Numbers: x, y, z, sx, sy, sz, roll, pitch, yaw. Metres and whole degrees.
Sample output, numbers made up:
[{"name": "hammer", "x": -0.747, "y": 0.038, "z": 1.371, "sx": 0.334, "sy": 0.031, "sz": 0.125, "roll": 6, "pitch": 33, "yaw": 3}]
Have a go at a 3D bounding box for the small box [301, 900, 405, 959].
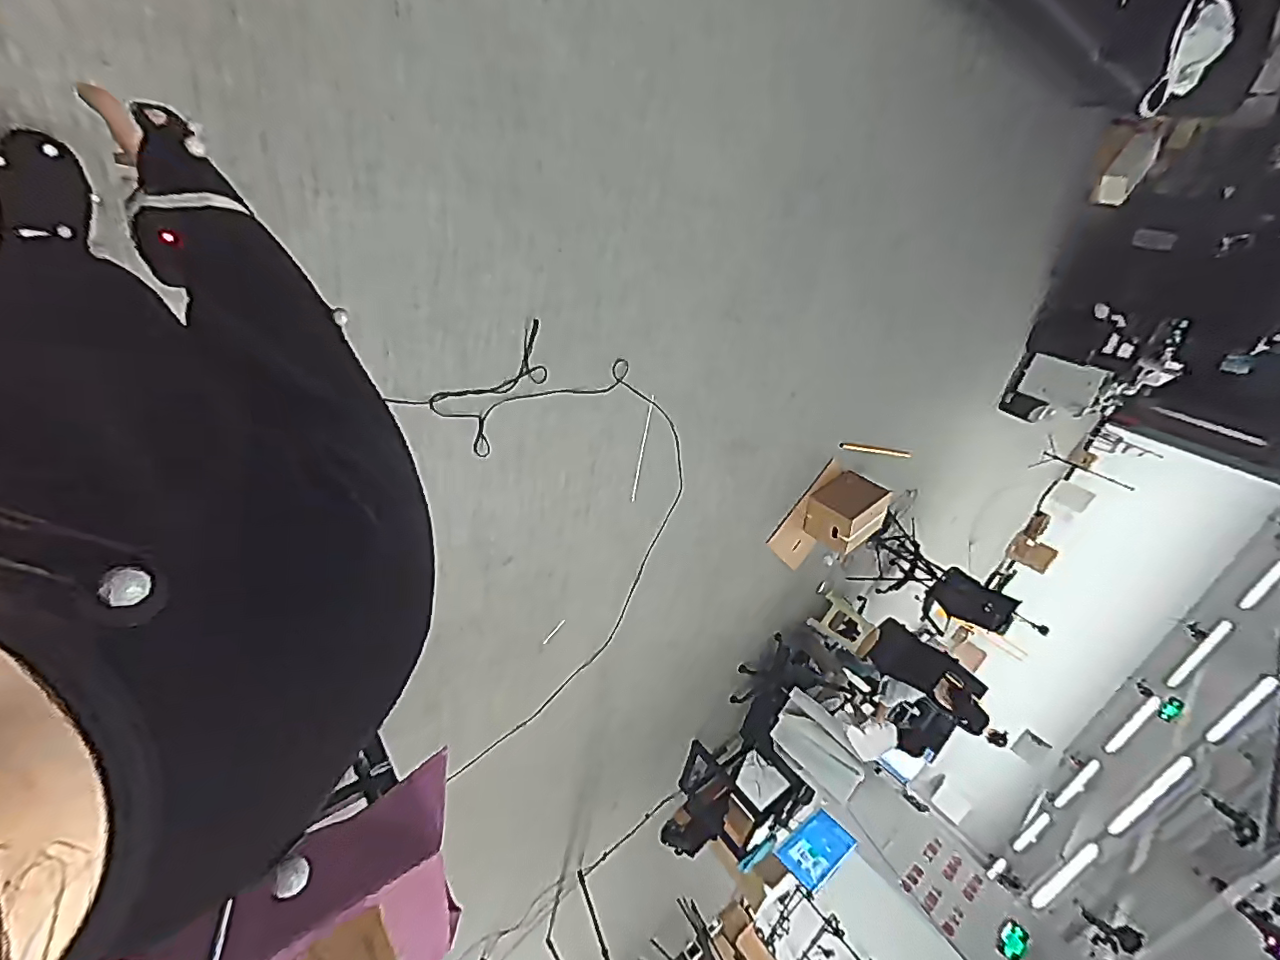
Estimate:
[{"name": "small box", "x": -0.641, "y": 1.114, "z": 1.224, "sx": 0.179, "sy": 0.176, "sz": 0.168, "roll": -15, "pitch": 129, "yaw": -36}]
